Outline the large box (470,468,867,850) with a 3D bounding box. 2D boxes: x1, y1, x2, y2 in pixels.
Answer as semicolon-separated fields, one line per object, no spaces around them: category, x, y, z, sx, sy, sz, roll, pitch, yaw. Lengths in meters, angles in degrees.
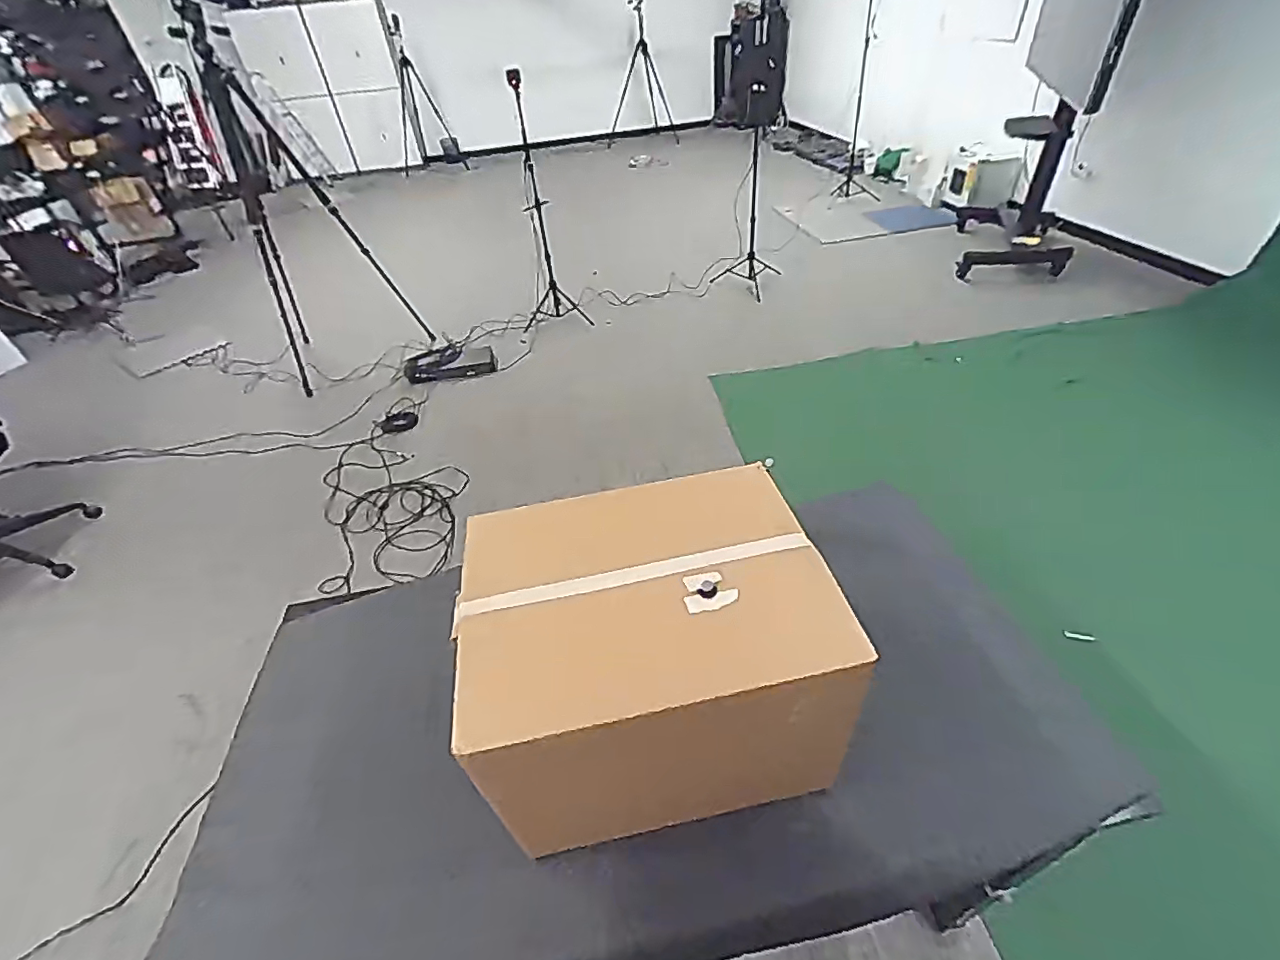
large box;0.016;0.228;0.722;0.408;0.320;0.320;-11;41;-5
